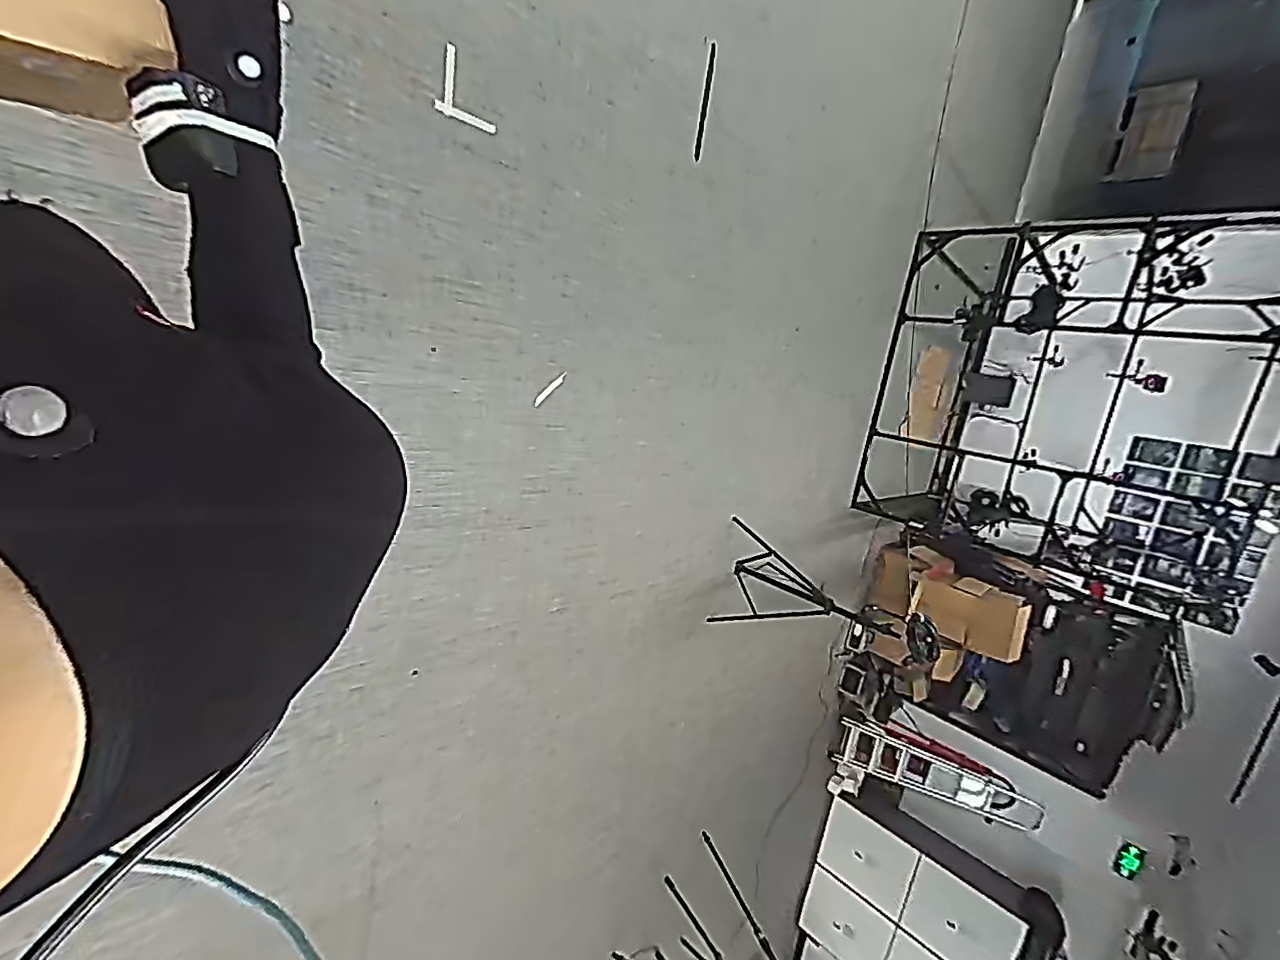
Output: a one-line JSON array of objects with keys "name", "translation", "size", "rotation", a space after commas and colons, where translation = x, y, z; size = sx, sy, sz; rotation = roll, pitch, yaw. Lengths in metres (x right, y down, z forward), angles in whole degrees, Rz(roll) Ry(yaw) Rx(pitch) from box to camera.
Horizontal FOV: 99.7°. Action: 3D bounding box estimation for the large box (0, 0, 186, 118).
[{"name": "large box", "translation": [-0.567, -0.447, 0.298], "size": [0.408, 0.320, 0.320], "rotation": [-16, 120, -48]}]
